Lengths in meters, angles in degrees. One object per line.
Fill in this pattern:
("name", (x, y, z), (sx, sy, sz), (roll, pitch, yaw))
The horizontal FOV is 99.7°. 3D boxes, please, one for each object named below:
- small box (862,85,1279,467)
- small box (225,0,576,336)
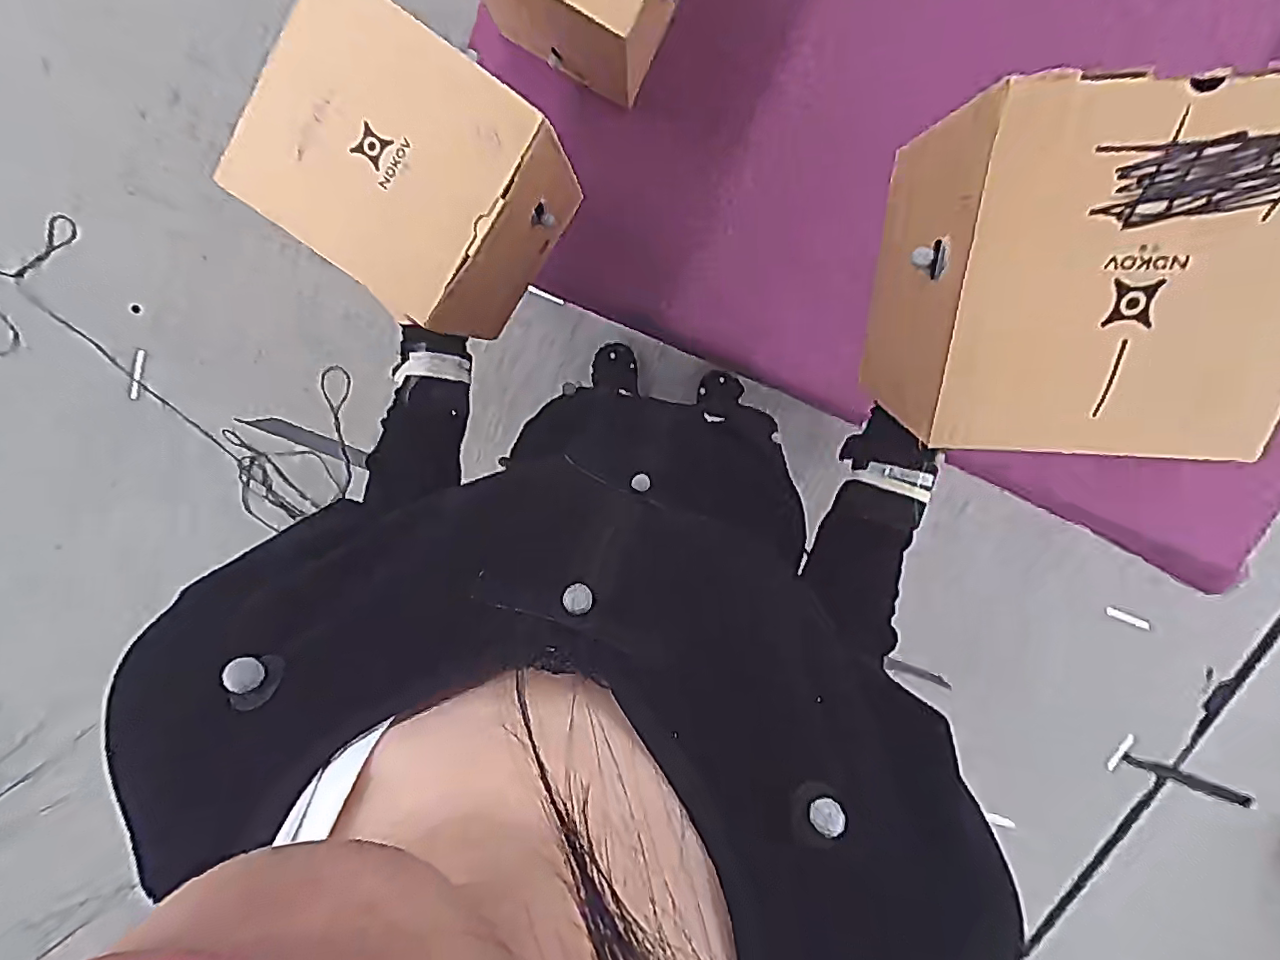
("small box", (0.256, -0.122, 0.346), (0.168, 0.176, 0.179), (4, 112, 7))
("small box", (-0.172, -0.235, 0.450), (0.179, 0.176, 0.168), (34, 100, -4))
